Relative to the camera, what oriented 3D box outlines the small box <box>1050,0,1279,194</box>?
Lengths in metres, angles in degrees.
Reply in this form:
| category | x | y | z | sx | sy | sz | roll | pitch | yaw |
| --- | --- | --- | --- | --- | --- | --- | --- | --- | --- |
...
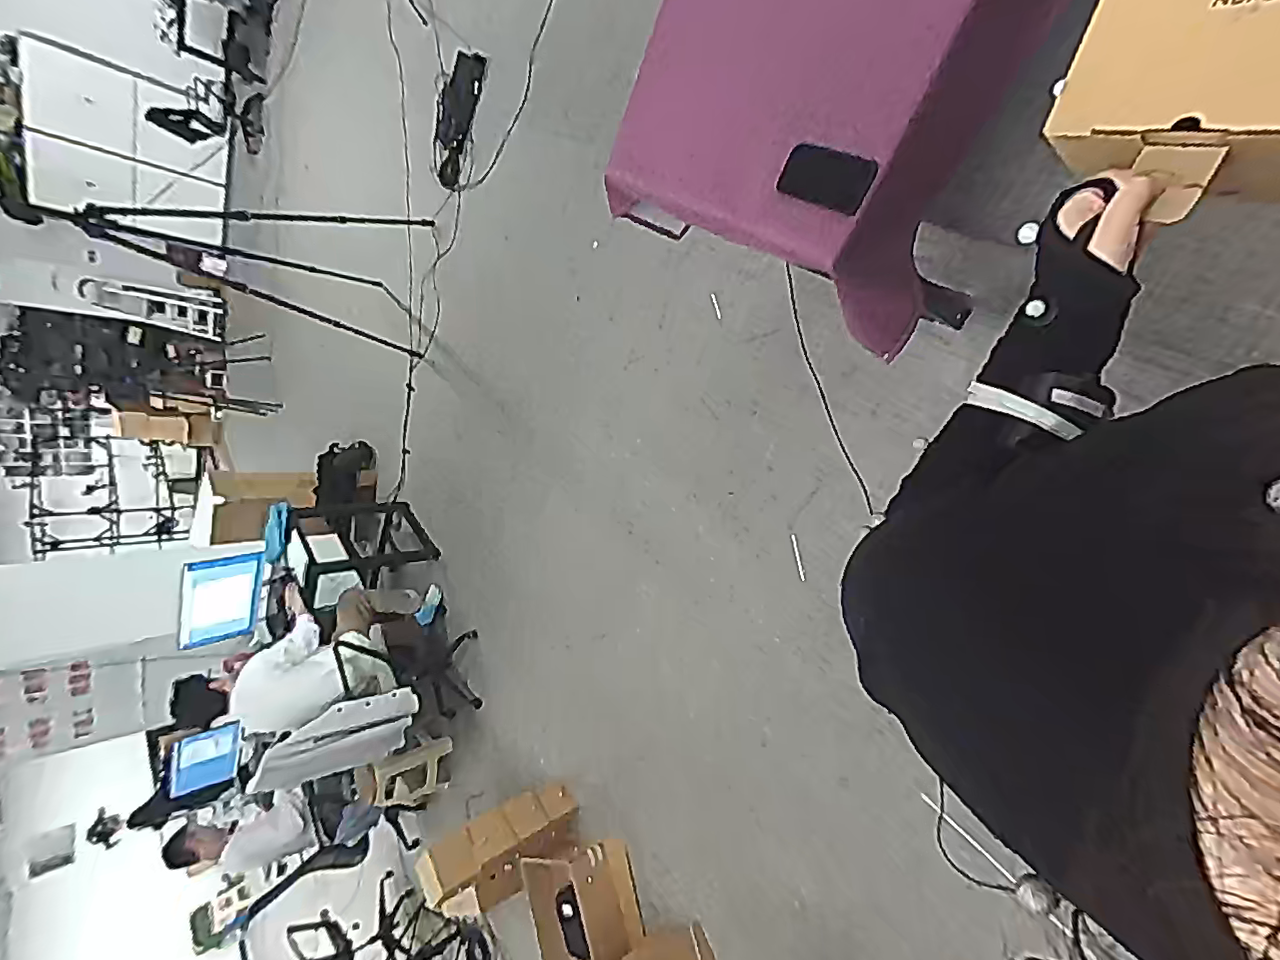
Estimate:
| category | x | y | z | sx | sy | sz | roll | pitch | yaw |
| --- | --- | --- | --- | --- | --- | --- | --- | --- | --- |
| small box | 0.438 | -0.324 | 0.382 | 0.168 | 0.176 | 0.179 | 34 | 121 | 39 |
